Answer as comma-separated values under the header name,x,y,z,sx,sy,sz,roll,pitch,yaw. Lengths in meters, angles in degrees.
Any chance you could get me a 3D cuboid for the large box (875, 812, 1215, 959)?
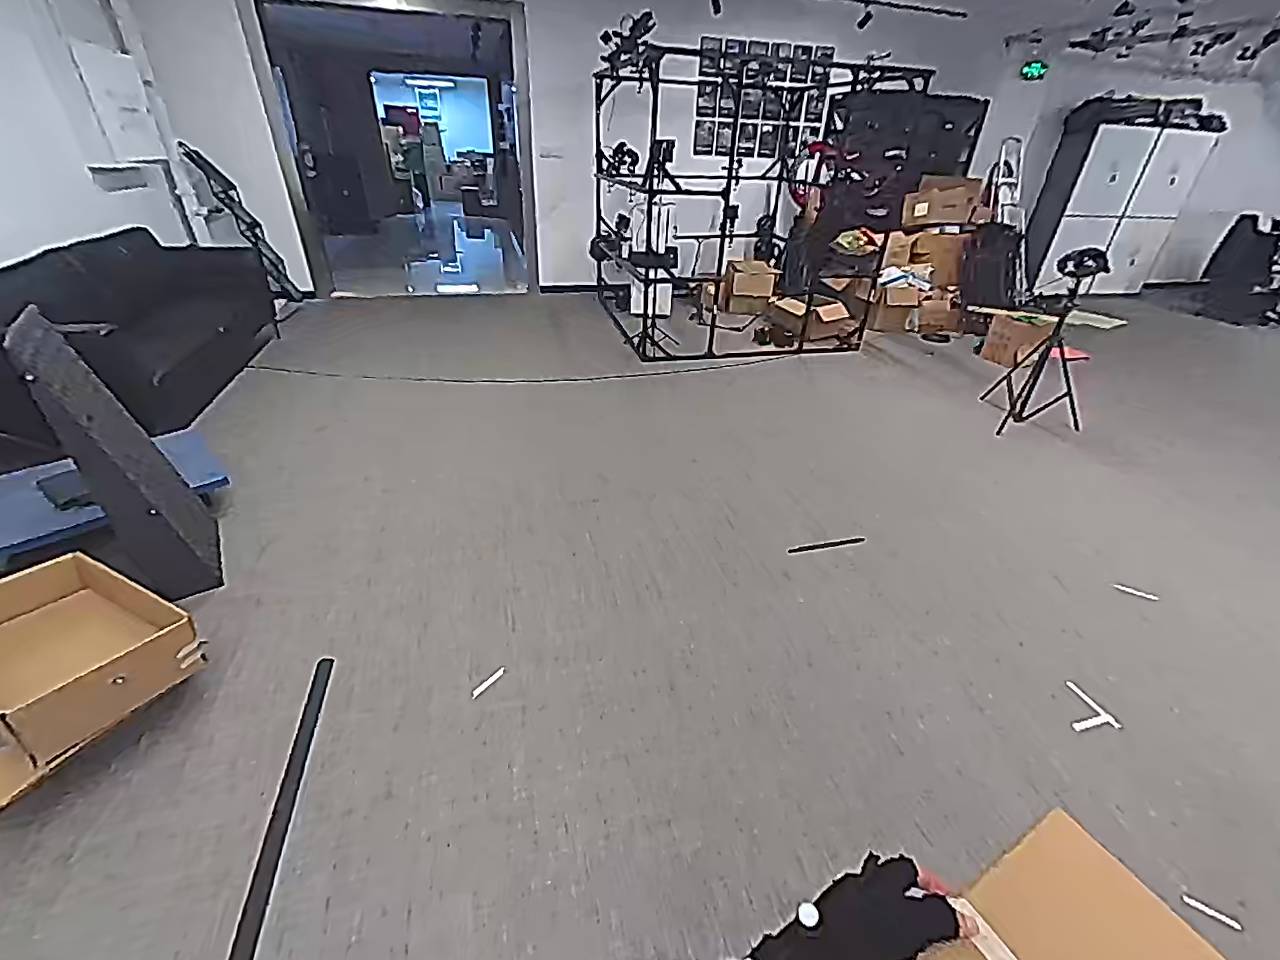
name,x,y,z,sx,sy,sz,roll,pitch,yaw
large box,0.363,0.585,0.420,0.320,0.320,0.408,-19,41,-23
